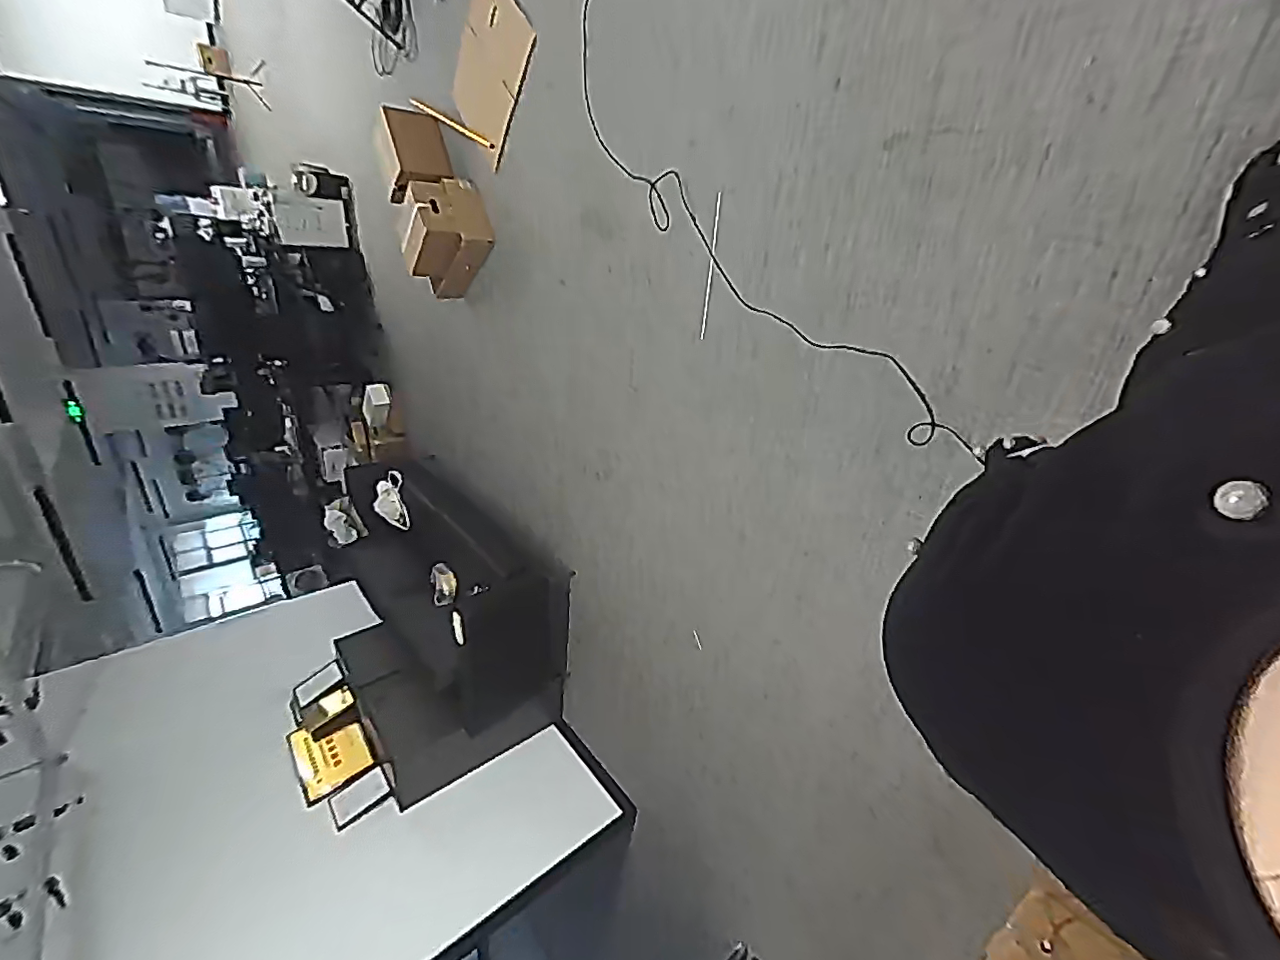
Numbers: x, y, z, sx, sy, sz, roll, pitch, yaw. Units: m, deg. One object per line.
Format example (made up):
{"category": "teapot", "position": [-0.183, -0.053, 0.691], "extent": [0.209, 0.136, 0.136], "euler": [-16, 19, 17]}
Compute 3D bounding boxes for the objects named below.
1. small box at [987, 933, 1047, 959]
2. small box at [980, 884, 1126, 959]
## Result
{"category": "small box", "position": [0.748, 1.053, 1.052], "extent": [0.168, 0.176, 0.179], "euler": [33, 127, 42]}
{"category": "small box", "position": [0.874, 1.011, 1.148], "extent": [0.179, 0.176, 0.168], "euler": [33, 128, 42]}
